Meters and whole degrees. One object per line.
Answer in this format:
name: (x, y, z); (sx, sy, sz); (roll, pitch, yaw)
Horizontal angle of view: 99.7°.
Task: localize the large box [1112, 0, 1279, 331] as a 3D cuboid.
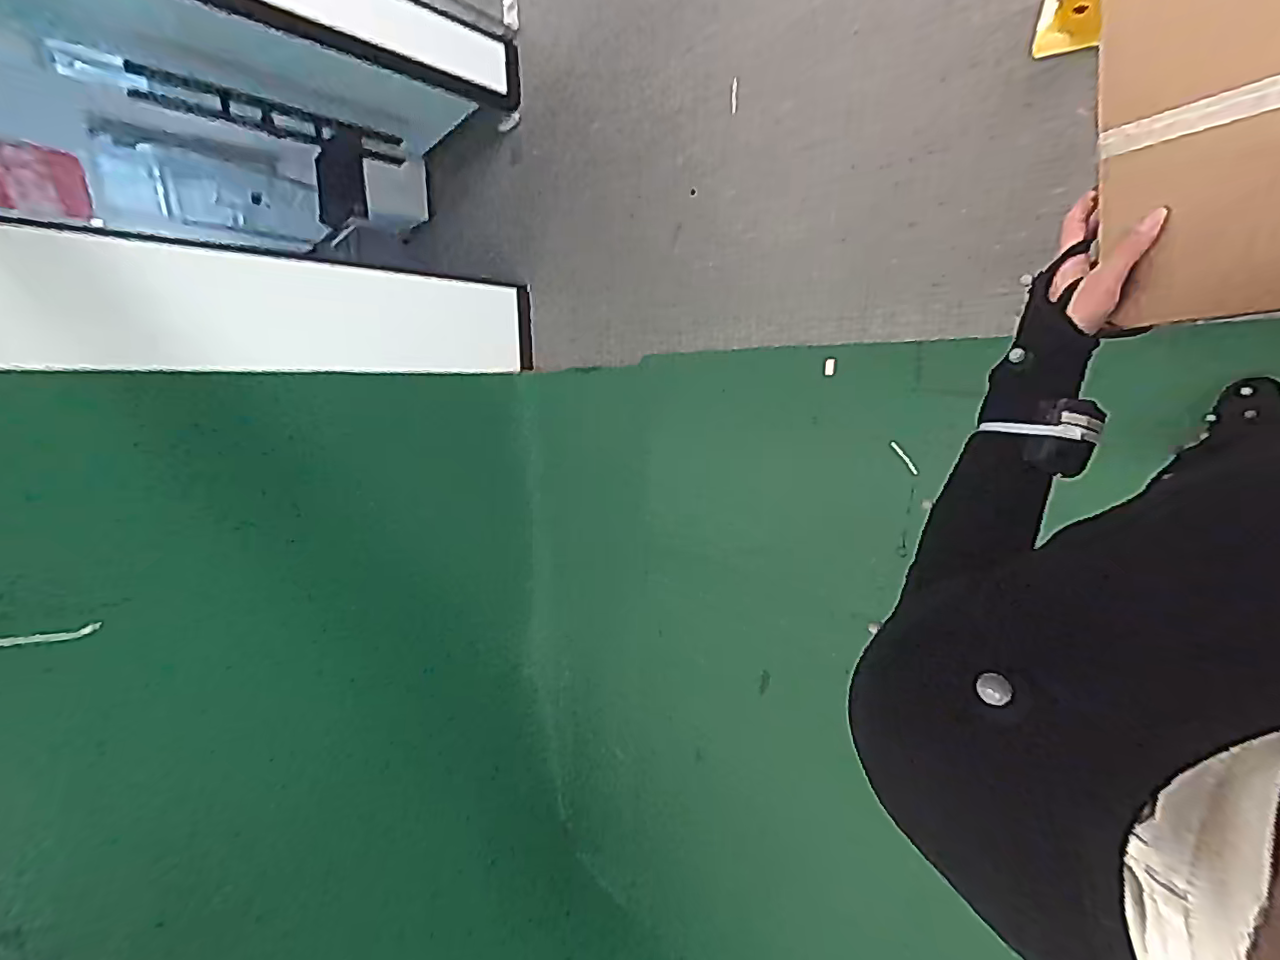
large box: (0.650, -0.316, 0.424); (0.408, 0.320, 0.320); (3, 108, 46)
